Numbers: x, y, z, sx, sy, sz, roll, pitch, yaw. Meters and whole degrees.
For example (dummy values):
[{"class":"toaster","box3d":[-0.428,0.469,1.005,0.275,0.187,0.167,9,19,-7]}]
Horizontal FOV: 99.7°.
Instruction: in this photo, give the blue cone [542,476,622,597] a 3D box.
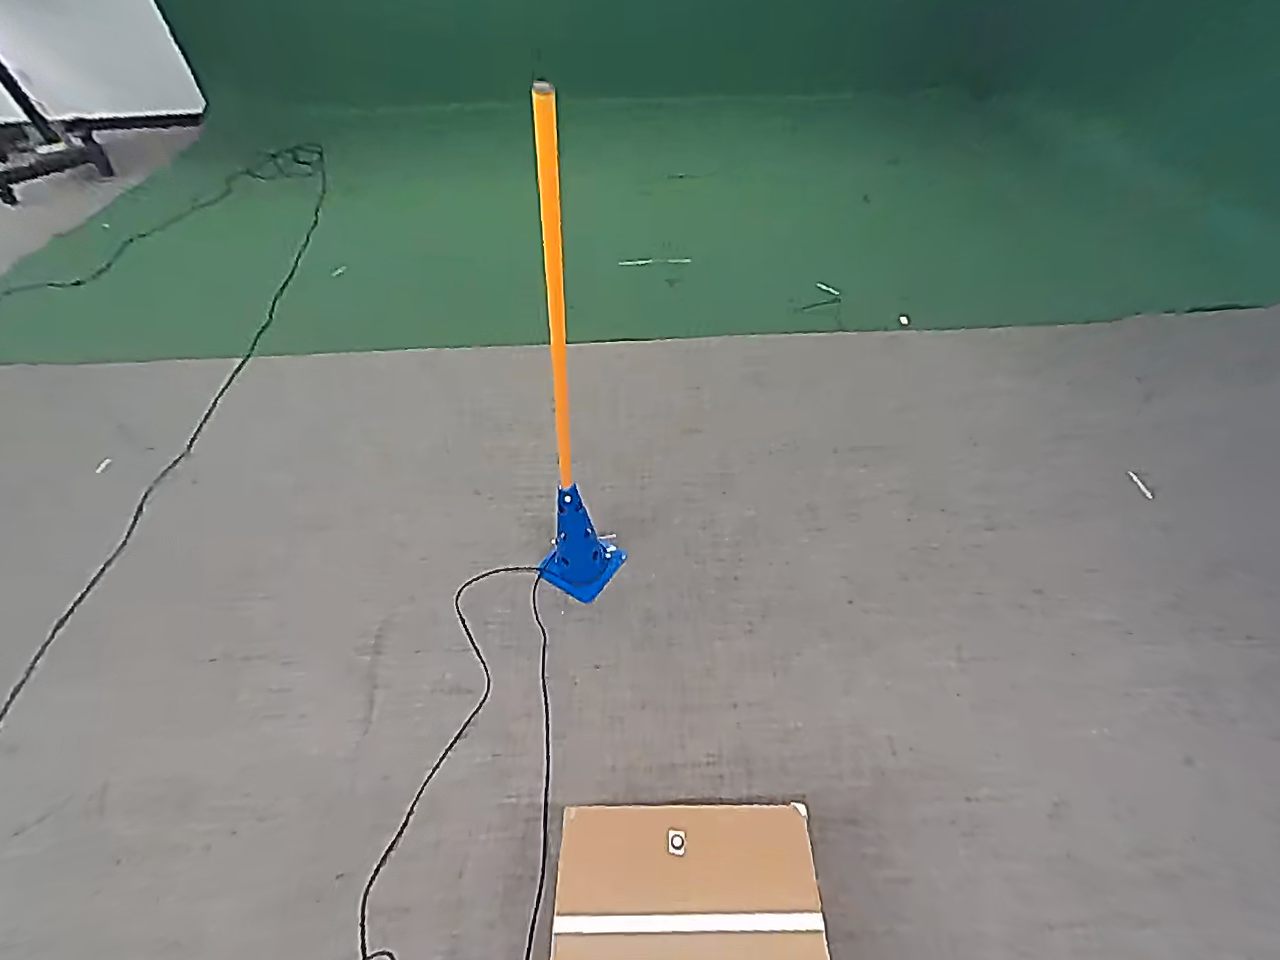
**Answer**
[{"class":"blue cone","box3d":[-0.168,0.122,1.433,0.192,0.380,0.193,24,53,20]}]
